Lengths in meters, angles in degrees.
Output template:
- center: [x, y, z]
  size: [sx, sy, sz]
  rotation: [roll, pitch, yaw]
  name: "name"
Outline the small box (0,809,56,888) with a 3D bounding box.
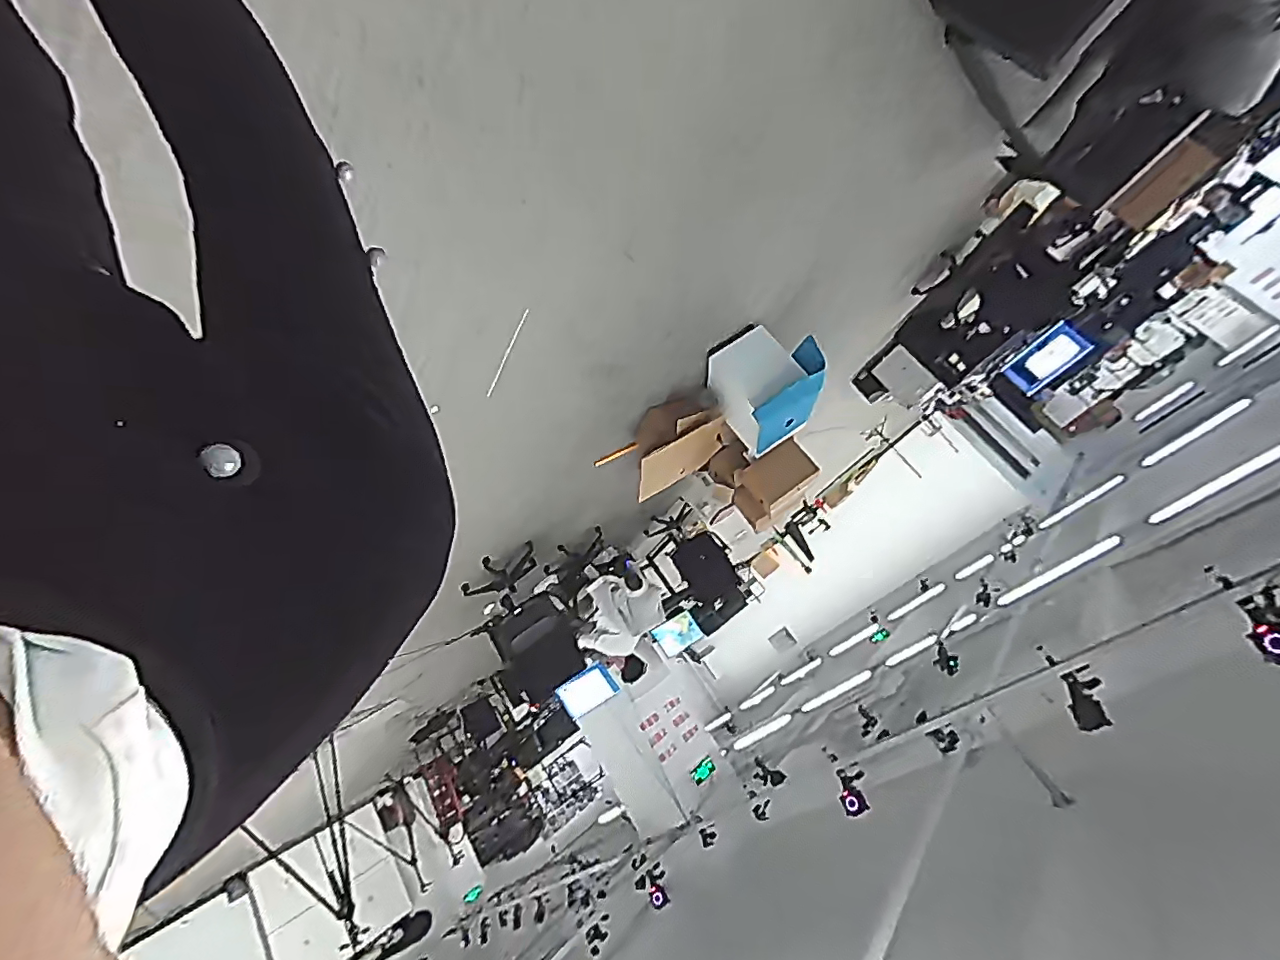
- center: [-1.718, 1.030, 1.461]
  size: [0.168, 0.176, 0.179]
  rotation: [-15, 152, -47]
  name: "small box"
